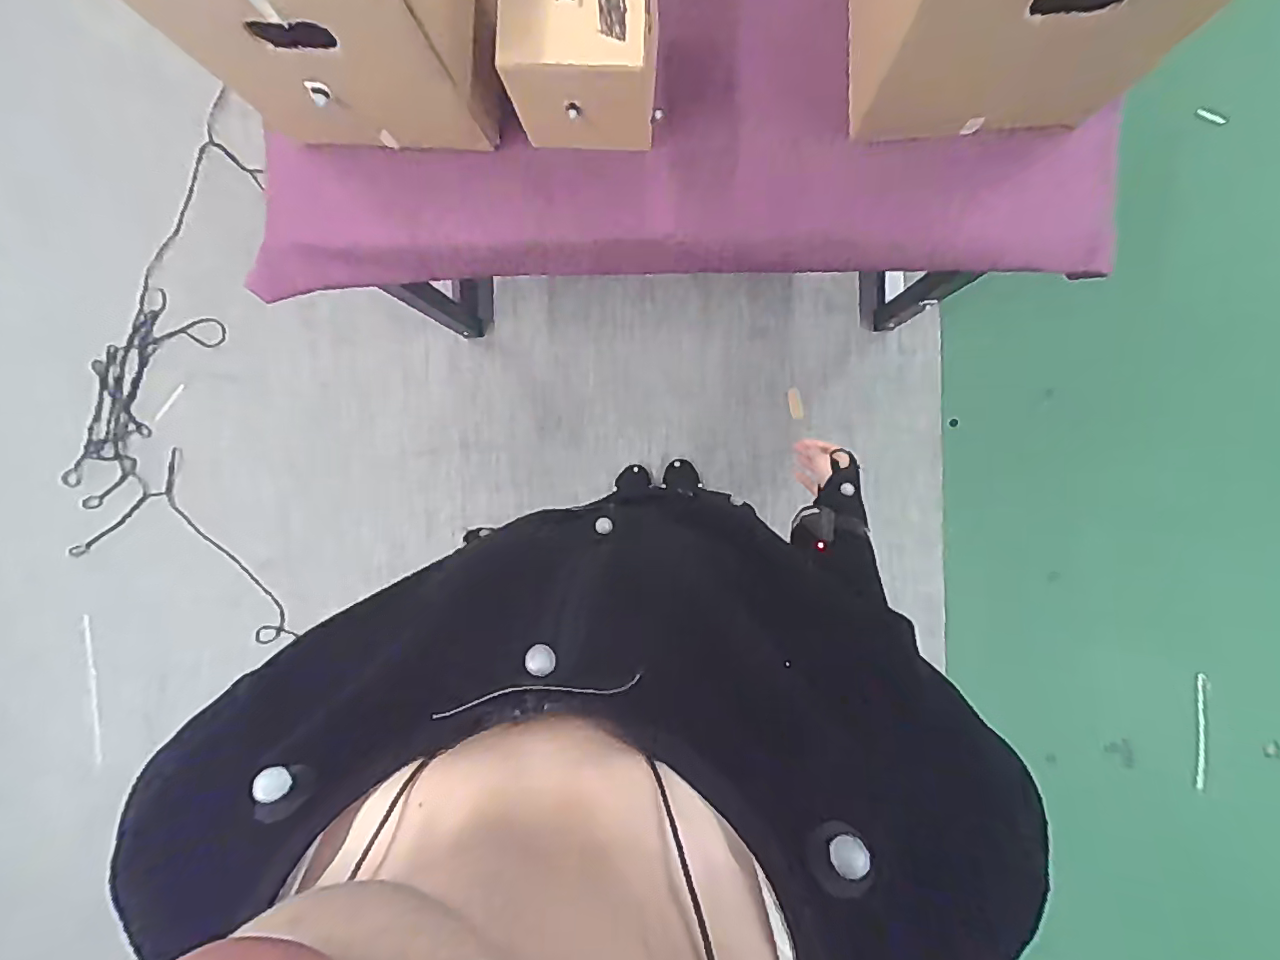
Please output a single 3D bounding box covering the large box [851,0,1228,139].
[{"bbox_3d":[0.430,-0.669,0.588,0.320,0.320,0.408,-1,92,6],"label":"large box"}]
